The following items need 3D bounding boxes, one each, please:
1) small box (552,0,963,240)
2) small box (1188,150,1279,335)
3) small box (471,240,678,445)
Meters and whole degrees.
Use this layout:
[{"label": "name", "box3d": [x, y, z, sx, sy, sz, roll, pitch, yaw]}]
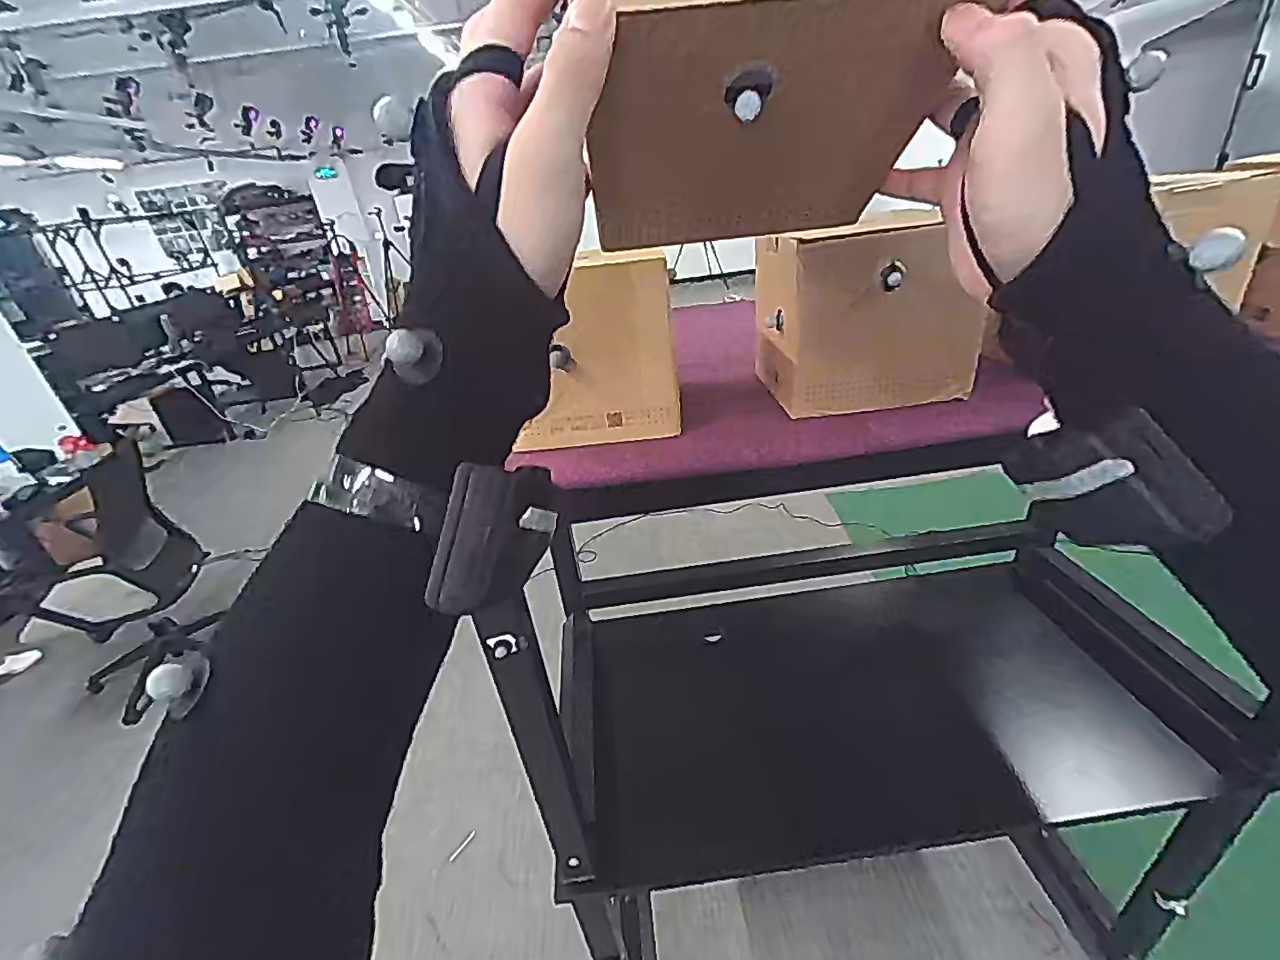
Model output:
[{"label": "small box", "box3d": [0.045, -0.255, 0.296, 0.179, 0.168, 0.176, -7, -7, -2]}, {"label": "small box", "box3d": [0.739, -0.254, 0.563, 0.179, 0.176, 0.168, -7, 30, 4]}, {"label": "small box", "box3d": [-0.054, -0.141, 0.561, 0.168, 0.176, 0.179, -6, 27, 3]}]
